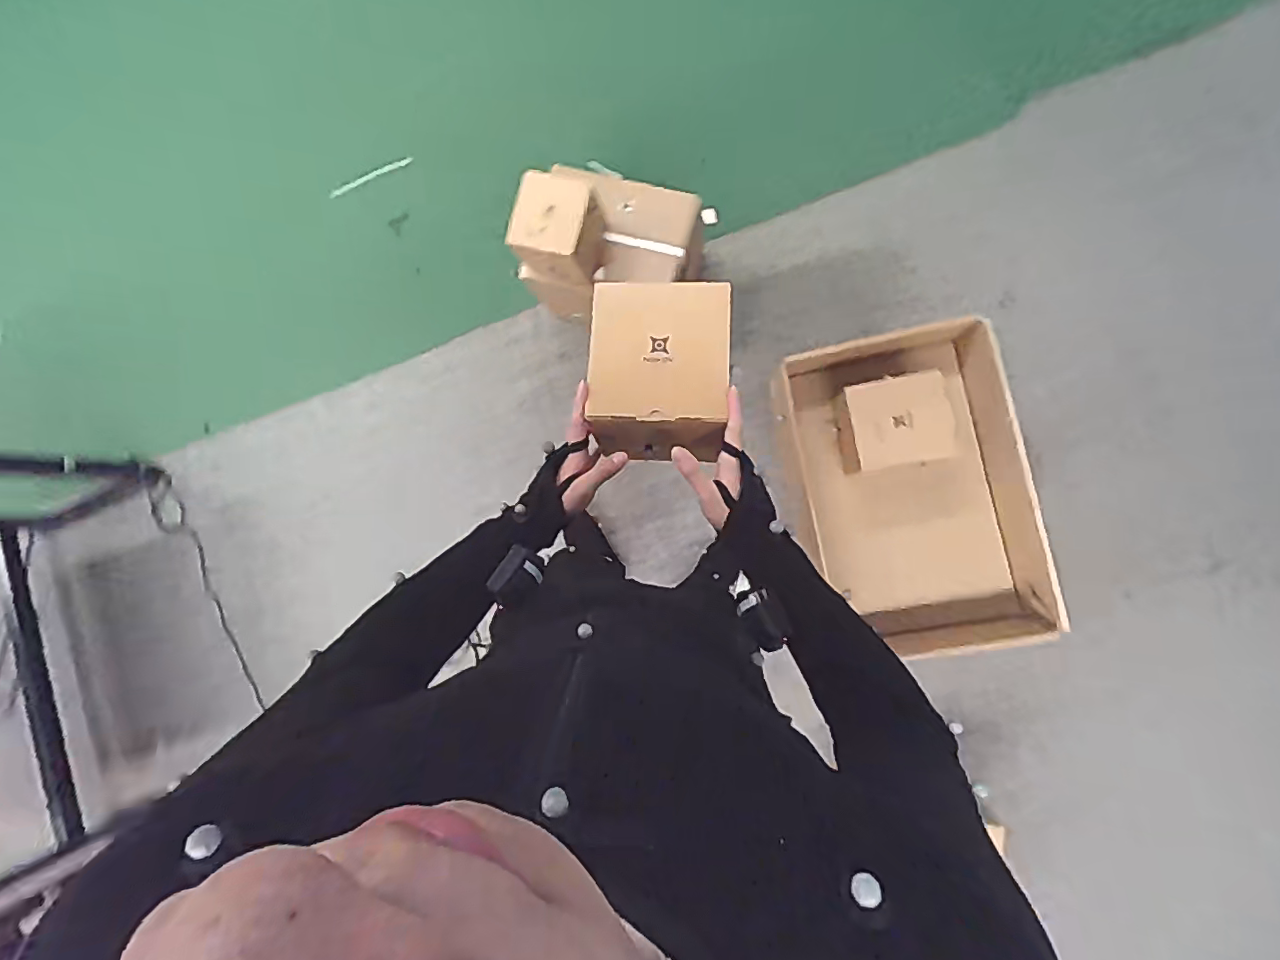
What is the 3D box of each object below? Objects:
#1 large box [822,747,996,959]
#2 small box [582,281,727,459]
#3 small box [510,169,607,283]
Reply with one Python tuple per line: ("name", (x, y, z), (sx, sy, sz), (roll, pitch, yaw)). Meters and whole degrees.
("large box", (0.651, 0.960, 1.363), (0.320, 0.320, 0.408), (5, 87, 8))
("small box", (0.022, -0.134, 0.702), (0.168, 0.176, 0.179), (1, 77, 4))
("small box", (-0.189, -0.607, 1.310), (0.168, 0.176, 0.179), (17, 91, 9))
